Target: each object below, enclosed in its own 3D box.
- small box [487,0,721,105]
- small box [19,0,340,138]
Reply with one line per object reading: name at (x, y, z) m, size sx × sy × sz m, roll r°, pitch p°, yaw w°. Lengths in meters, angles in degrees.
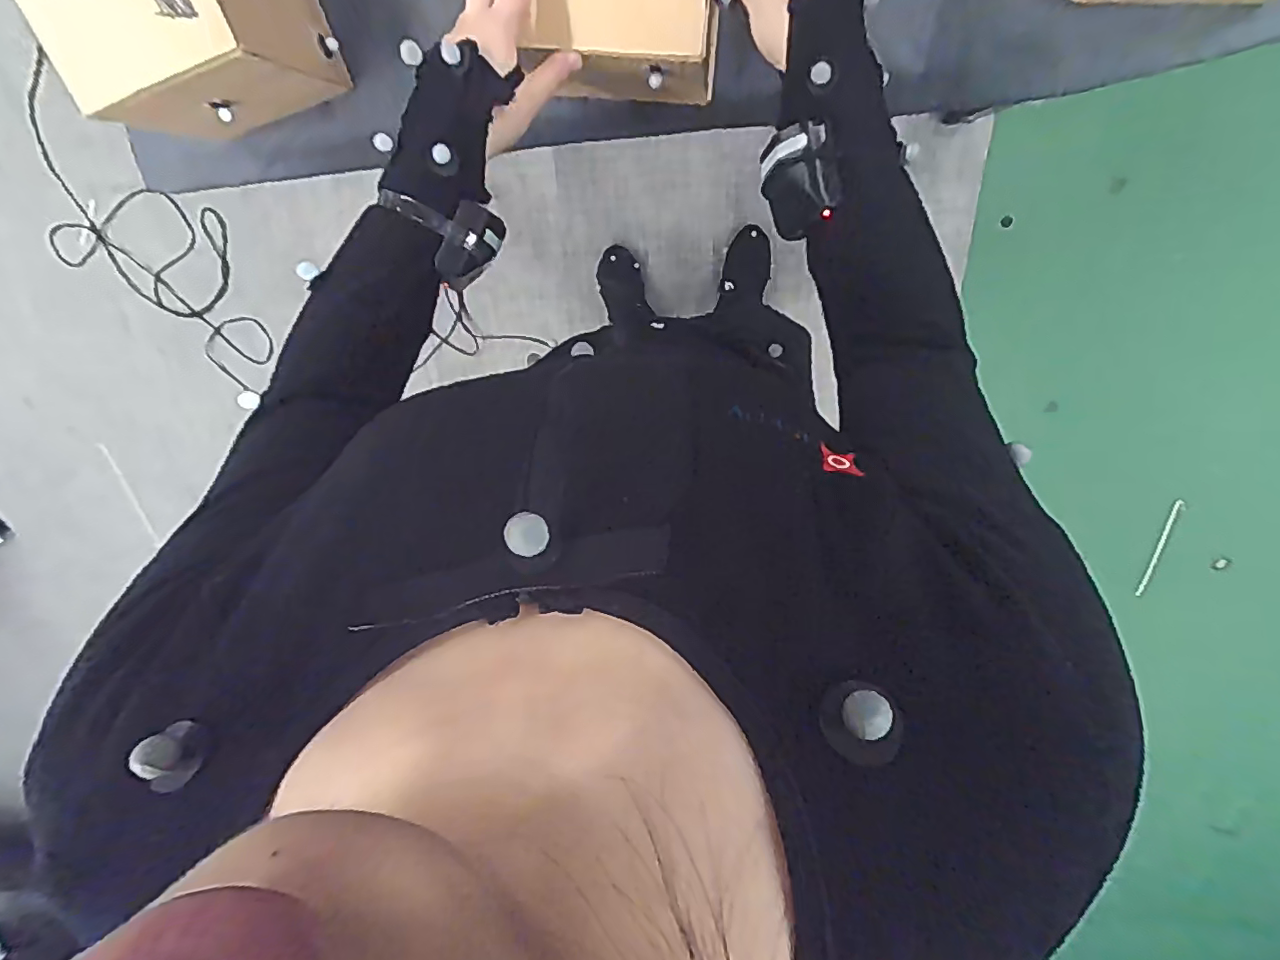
small box at (-0.019, -0.436, 0.462) m, size 0.179 × 0.176 × 0.168 m, roll 6°, pitch 116°, yaw 5°
small box at (-0.420, -0.442, 0.504) m, size 0.179 × 0.176 × 0.168 m, roll -11°, pitch 115°, yaw 12°
